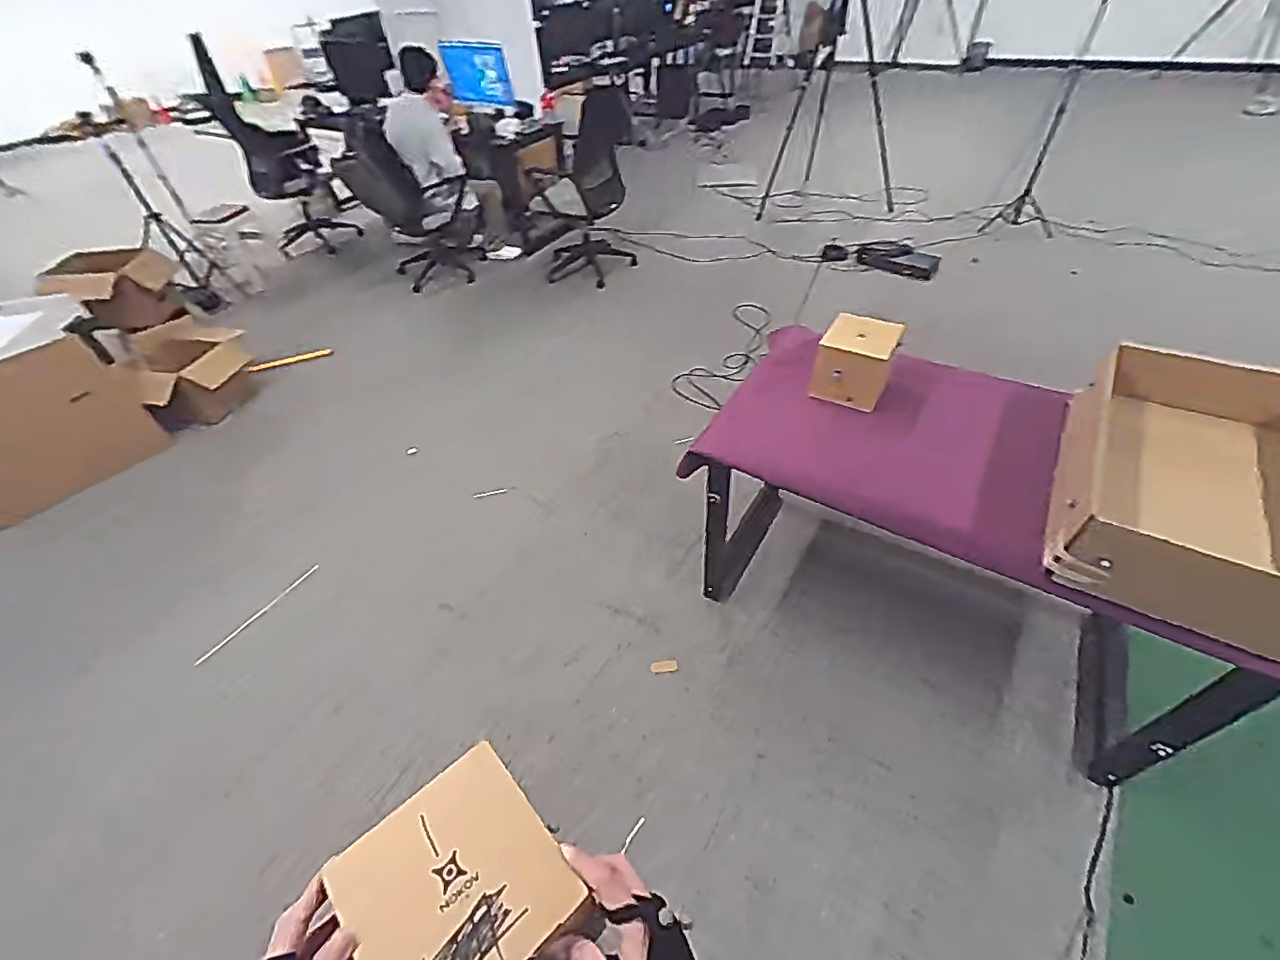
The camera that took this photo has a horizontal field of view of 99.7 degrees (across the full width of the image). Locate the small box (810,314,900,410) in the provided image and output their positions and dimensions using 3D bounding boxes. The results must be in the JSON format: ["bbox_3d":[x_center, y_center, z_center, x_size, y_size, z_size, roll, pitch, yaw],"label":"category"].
[{"bbox_3d":[0.557,-0.308,1.419,0.168,0.176,0.179,21,50,24],"label":"small box"}]
